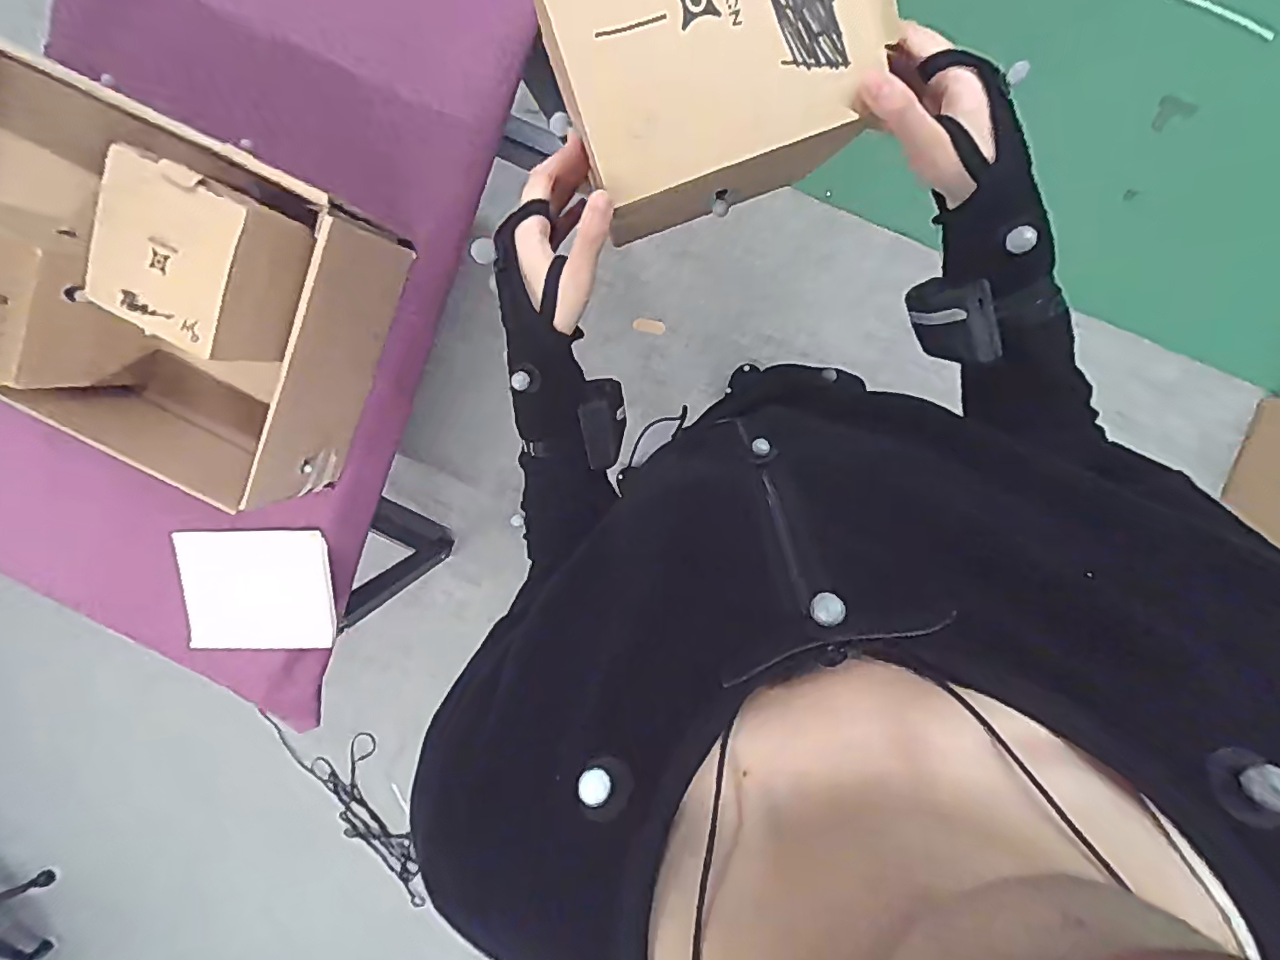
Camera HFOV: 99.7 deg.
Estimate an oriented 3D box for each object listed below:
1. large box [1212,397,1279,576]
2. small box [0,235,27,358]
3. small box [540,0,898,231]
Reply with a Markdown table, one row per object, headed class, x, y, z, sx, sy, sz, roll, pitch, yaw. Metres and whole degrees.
| class | x | y | z | sx | sy | sz | roll | pitch | yaw |
| --- | --- | --- | --- | --- | --- | --- | --- | --- | --- |
| large box | 1.604 | 0.042 | 1.179 | 0.320 | 0.320 | 0.408 | 11 | 100 | 4 |
| small box | -0.789 | -0.208 | 0.538 | 0.179 | 0.176 | 0.168 | 27 | 103 | 0 |
| small box | 0.035 | -0.288 | 0.362 | 0.179 | 0.176 | 0.168 | -19 | 106 | 4 |
